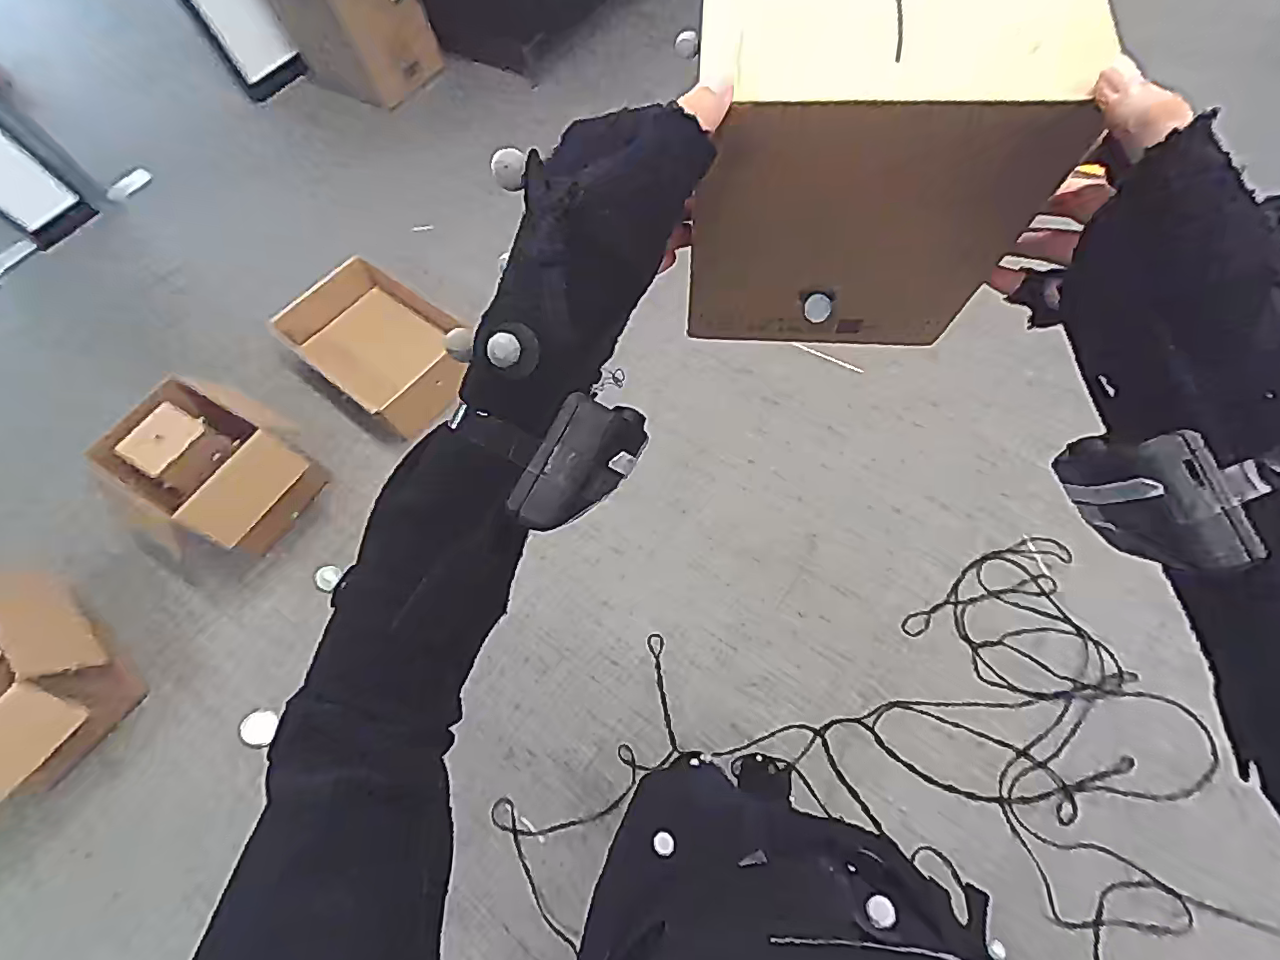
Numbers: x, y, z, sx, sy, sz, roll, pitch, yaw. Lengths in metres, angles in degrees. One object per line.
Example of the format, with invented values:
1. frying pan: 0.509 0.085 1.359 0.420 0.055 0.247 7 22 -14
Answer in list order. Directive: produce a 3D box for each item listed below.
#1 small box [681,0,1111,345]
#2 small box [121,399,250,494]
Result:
1. small box: 0.112 -0.203 0.317 0.168 0.176 0.179 3 72 5
2. small box: -1.228 -0.084 1.477 0.179 0.176 0.168 27 69 16
